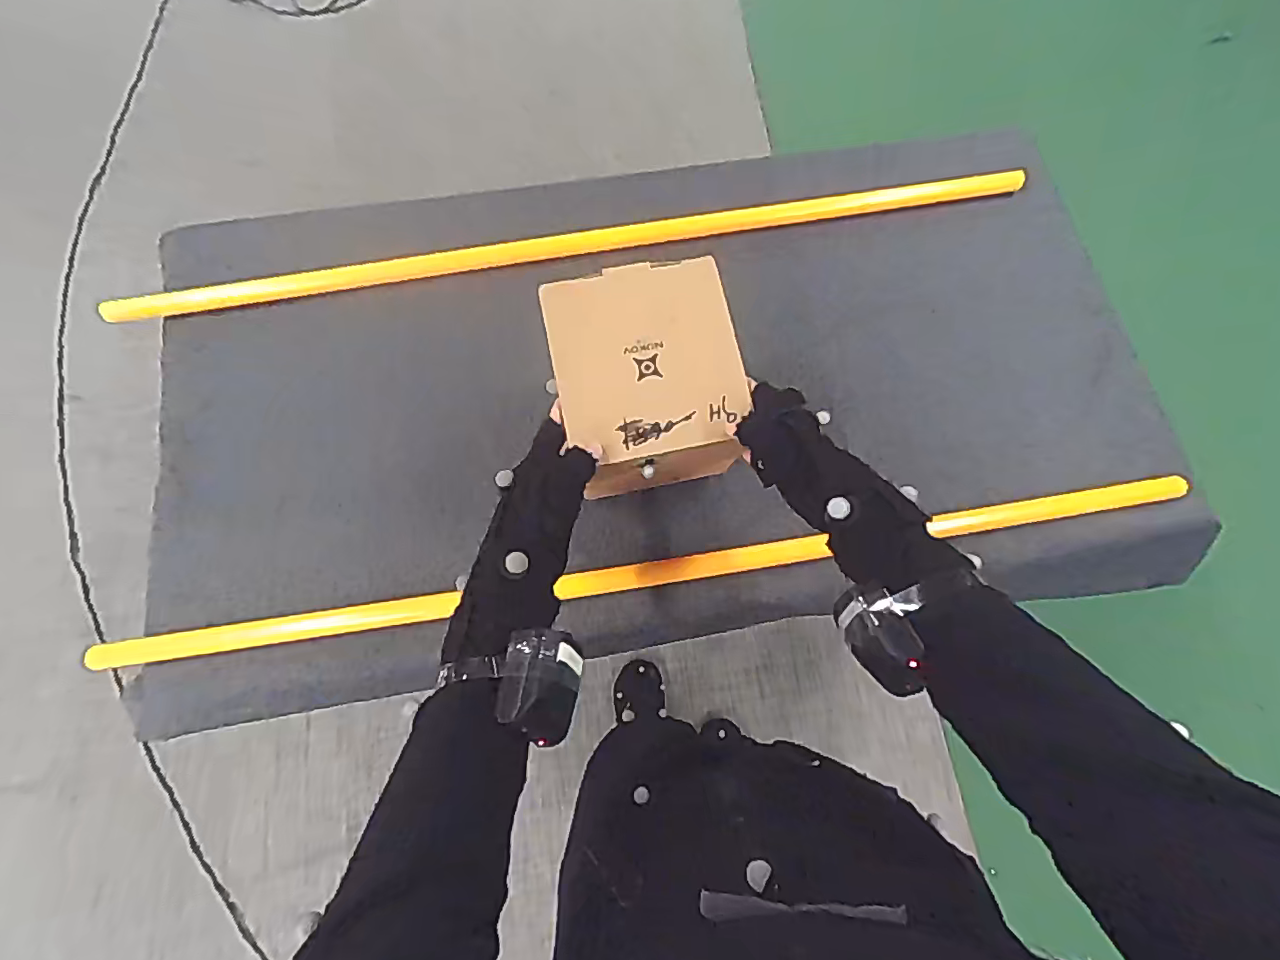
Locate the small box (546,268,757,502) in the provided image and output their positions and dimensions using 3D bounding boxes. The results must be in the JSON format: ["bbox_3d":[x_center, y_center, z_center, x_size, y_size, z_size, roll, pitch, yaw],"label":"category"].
[{"bbox_3d":[0.004,-0.087,0.564,0.168,0.176,0.179,-12,80,-4],"label":"small box"}]
